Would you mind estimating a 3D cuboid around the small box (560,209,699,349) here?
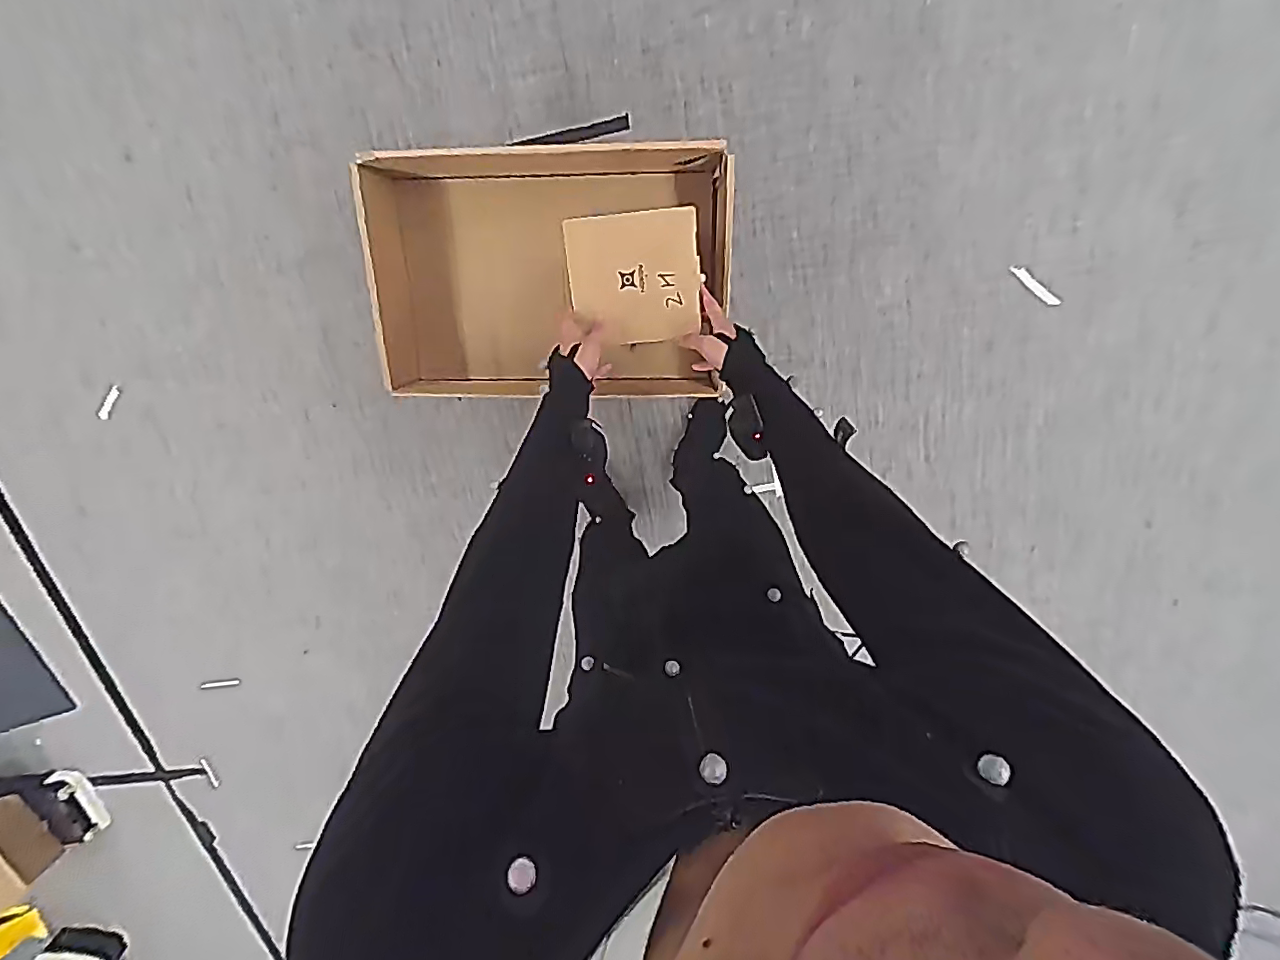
[{"bbox_3d":[-0.008,-0.282,0.786,0.179,0.176,0.168,-4,107,3],"label":"small box"}]
